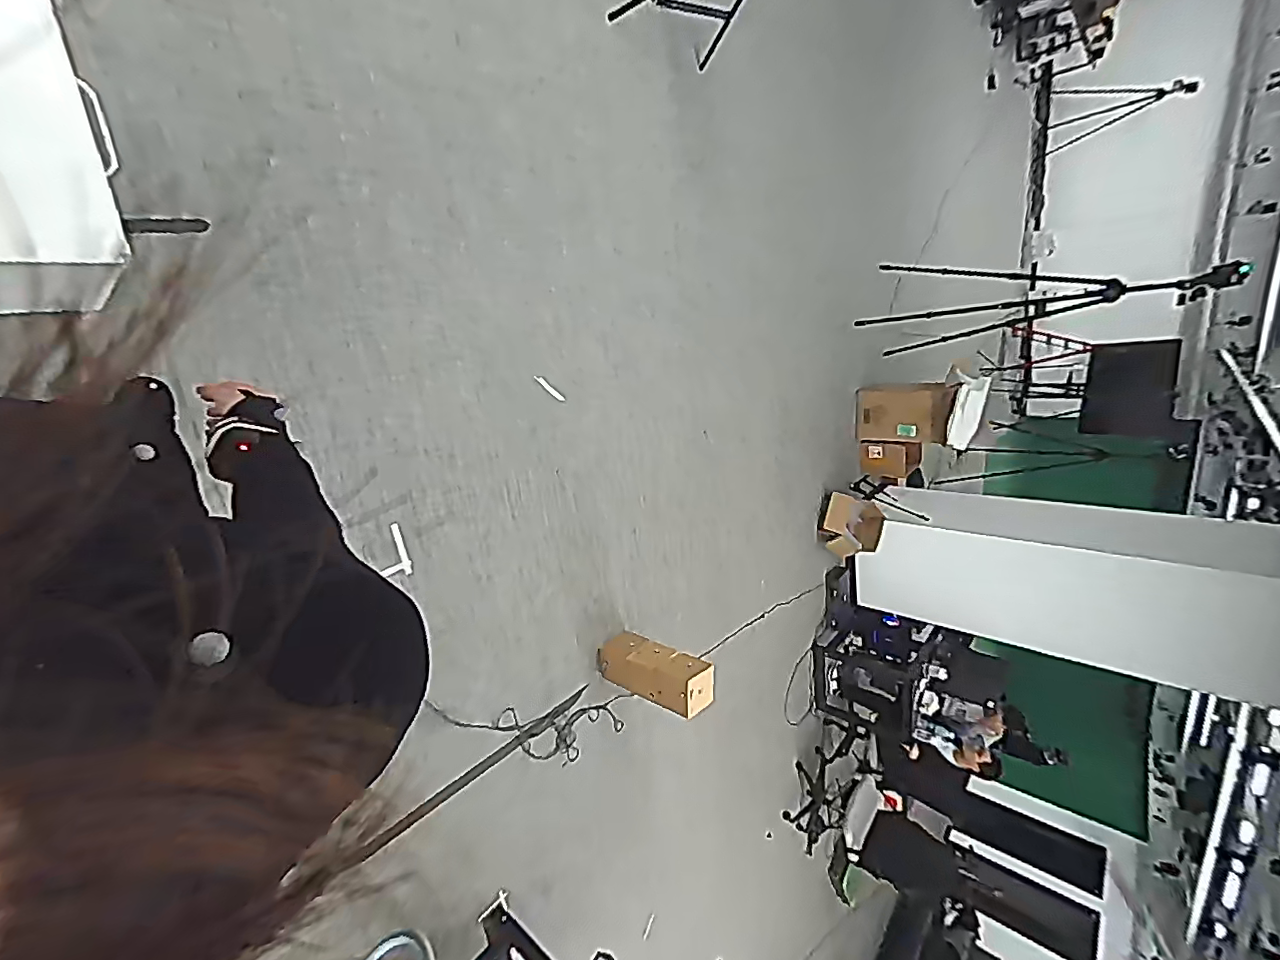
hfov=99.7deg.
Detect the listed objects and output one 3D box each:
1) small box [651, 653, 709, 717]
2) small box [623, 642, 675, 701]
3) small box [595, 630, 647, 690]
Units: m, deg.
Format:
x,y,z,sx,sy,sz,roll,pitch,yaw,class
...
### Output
x,y,z,sx,sy,sz,roll,pitch,yaw,class
0.164,0.830,2.211,0.179,0.176,0.168,-11,103,-48,small box
0.043,0.817,2.322,0.168,0.176,0.179,-21,111,-45,small box
-0.077,0.801,2.429,0.179,0.176,0.168,-23,112,-44,small box
